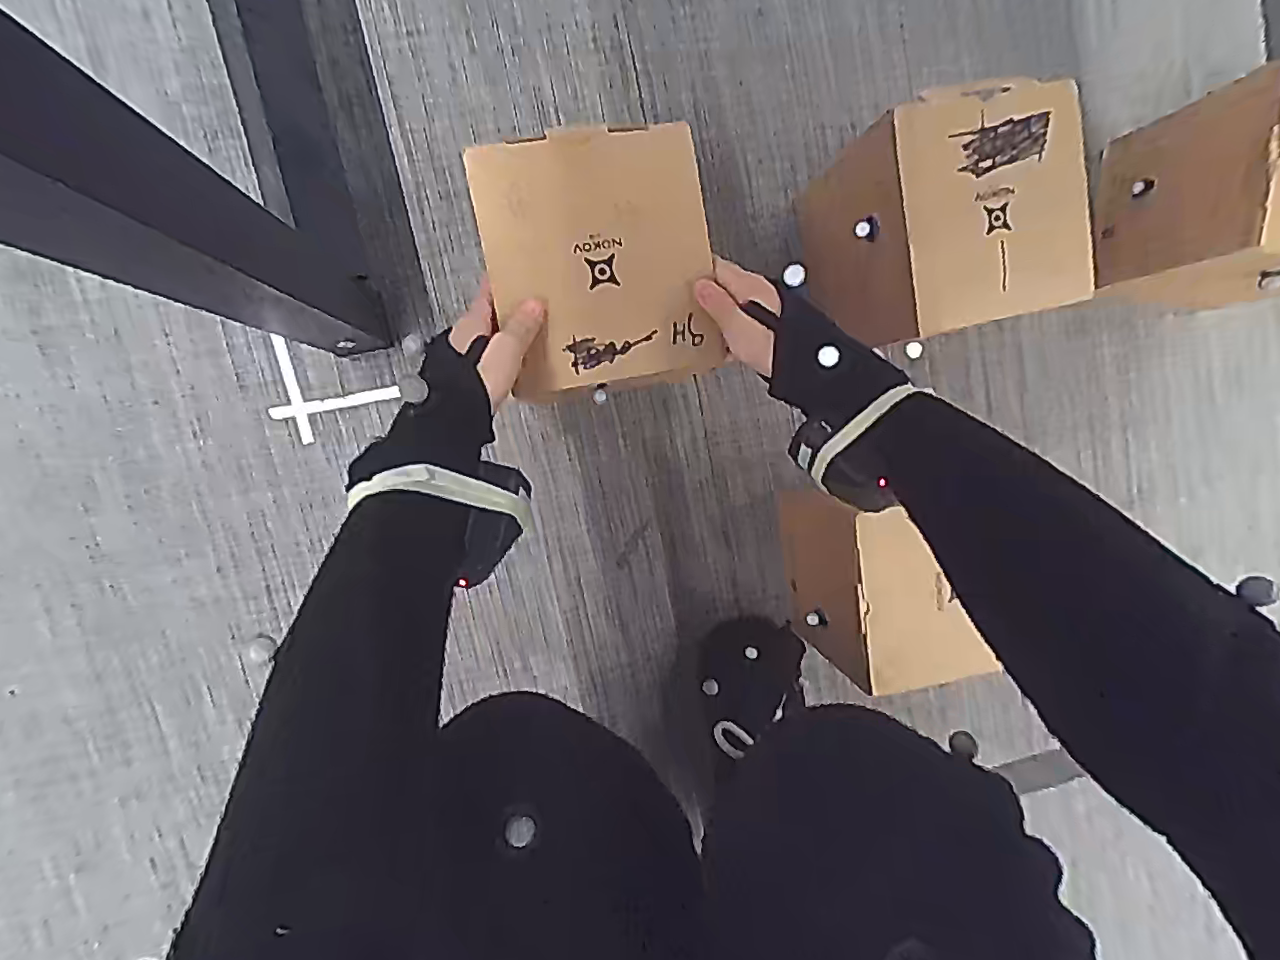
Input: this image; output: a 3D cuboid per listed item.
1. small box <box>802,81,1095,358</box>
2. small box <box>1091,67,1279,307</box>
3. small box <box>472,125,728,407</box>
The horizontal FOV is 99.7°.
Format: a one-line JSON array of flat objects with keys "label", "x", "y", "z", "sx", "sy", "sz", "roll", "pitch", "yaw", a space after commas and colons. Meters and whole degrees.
[{"label": "small box", "x": 0.271, "y": -0.225, "z": 0.509, "sx": 0.168, "sy": 0.176, "sz": 0.179, "roll": -13, "pitch": 98, "yaw": -7}, {"label": "small box", "x": 0.619, "y": -0.284, "z": 0.558, "sx": 0.179, "sy": 0.176, "sz": 0.168, "roll": 5, "pitch": 95, "yaw": -8}, {"label": "small box", "x": -0.038, "y": -0.166, "z": 0.469, "sx": 0.168, "sy": 0.176, "sz": 0.179, "roll": -10, "pitch": 95, "yaw": -8}]
